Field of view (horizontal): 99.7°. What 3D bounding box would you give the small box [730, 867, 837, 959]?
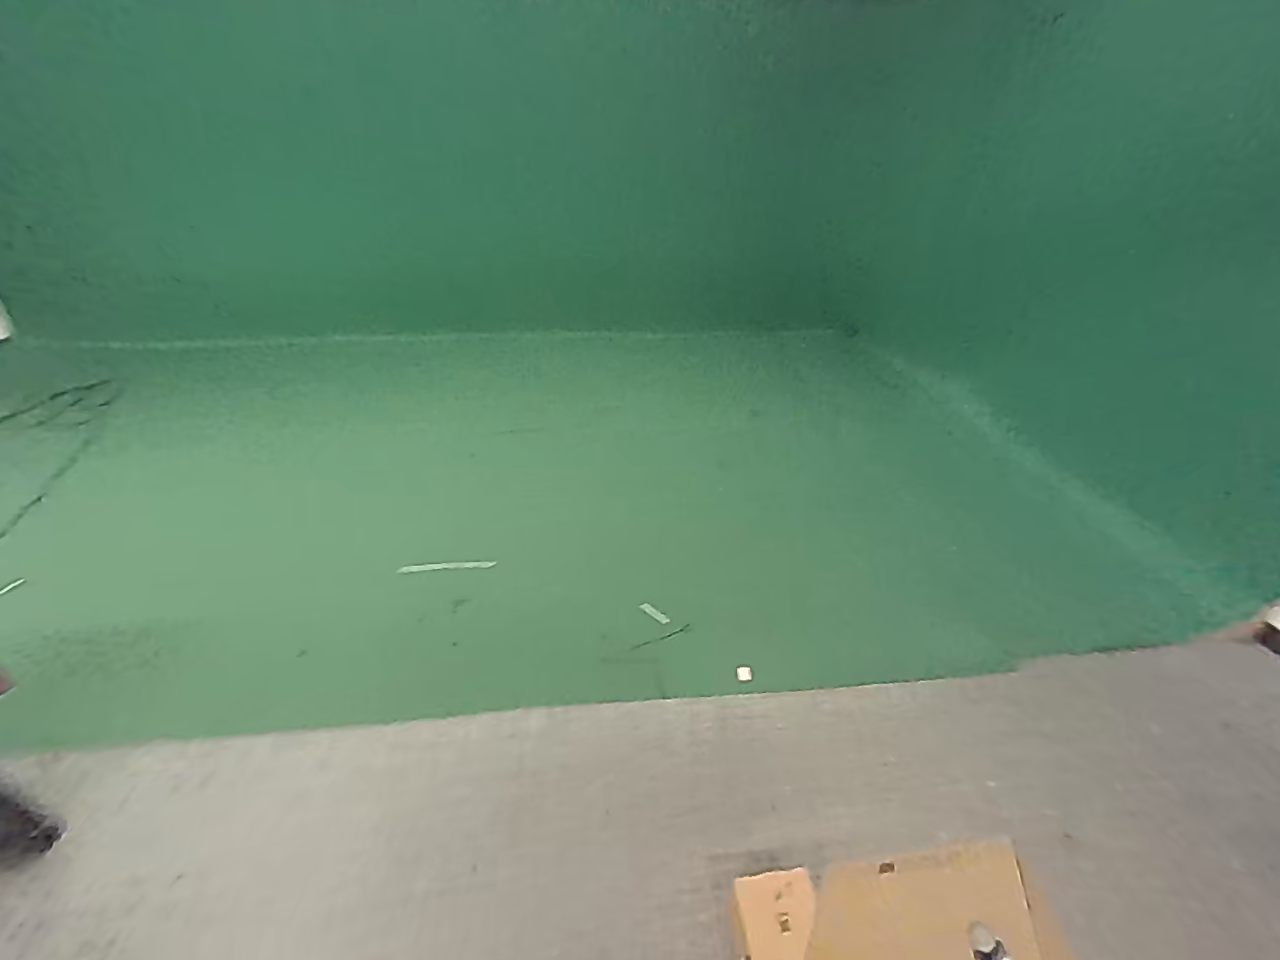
[{"bbox_3d":[0.297,0.963,1.148,0.168,0.176,0.179,-3,36,-6],"label":"small box"}]
